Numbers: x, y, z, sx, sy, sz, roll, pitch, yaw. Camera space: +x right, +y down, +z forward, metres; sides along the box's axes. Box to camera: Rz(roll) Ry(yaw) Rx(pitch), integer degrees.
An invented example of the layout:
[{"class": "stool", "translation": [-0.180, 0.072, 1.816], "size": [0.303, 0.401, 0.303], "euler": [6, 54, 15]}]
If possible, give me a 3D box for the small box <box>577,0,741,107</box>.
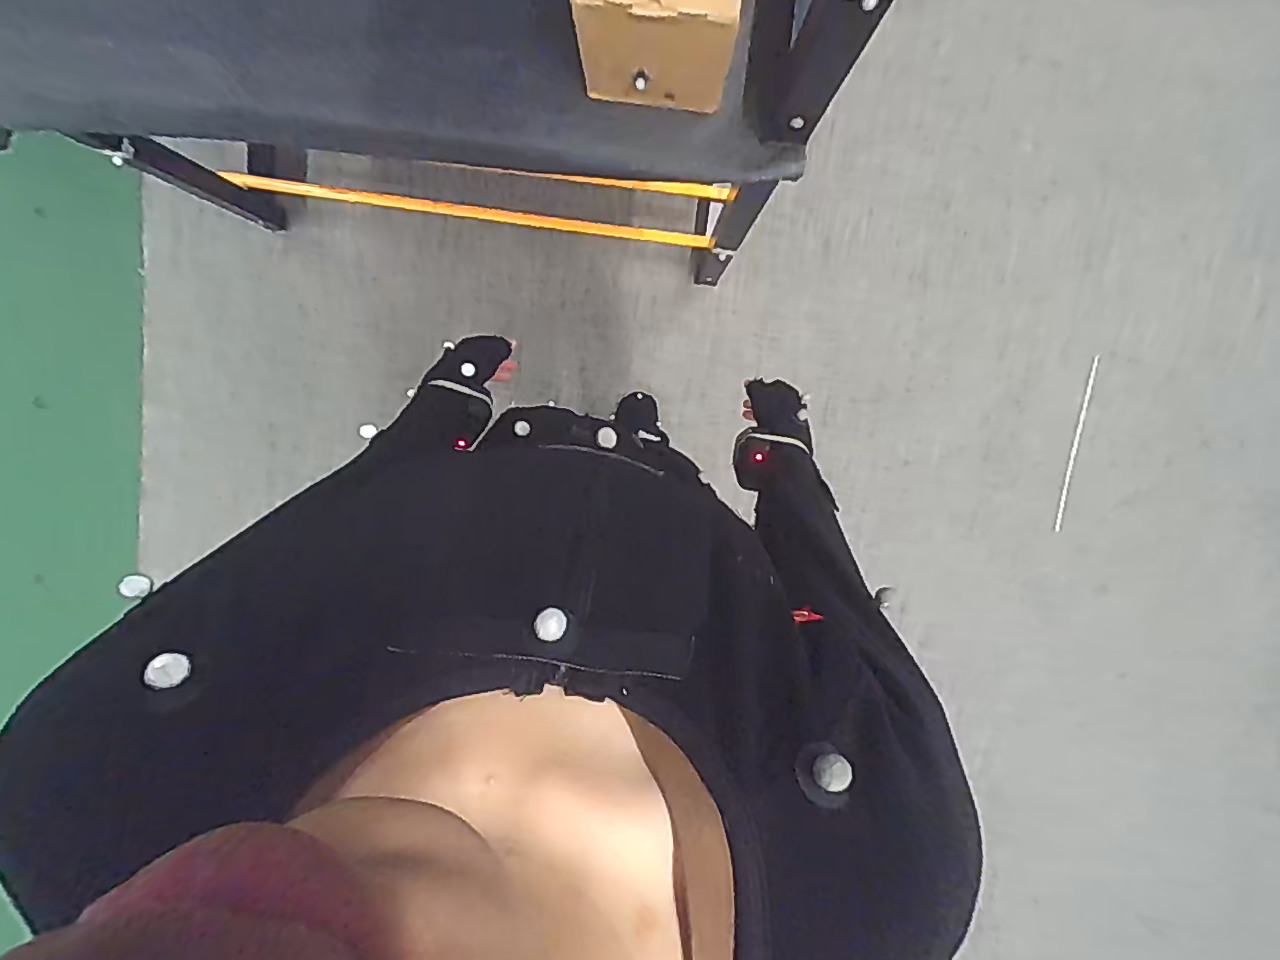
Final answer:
[{"class": "small box", "translation": [0.024, -0.548, 0.581], "size": [0.168, 0.176, 0.179], "euler": [7, 98, 0]}]
